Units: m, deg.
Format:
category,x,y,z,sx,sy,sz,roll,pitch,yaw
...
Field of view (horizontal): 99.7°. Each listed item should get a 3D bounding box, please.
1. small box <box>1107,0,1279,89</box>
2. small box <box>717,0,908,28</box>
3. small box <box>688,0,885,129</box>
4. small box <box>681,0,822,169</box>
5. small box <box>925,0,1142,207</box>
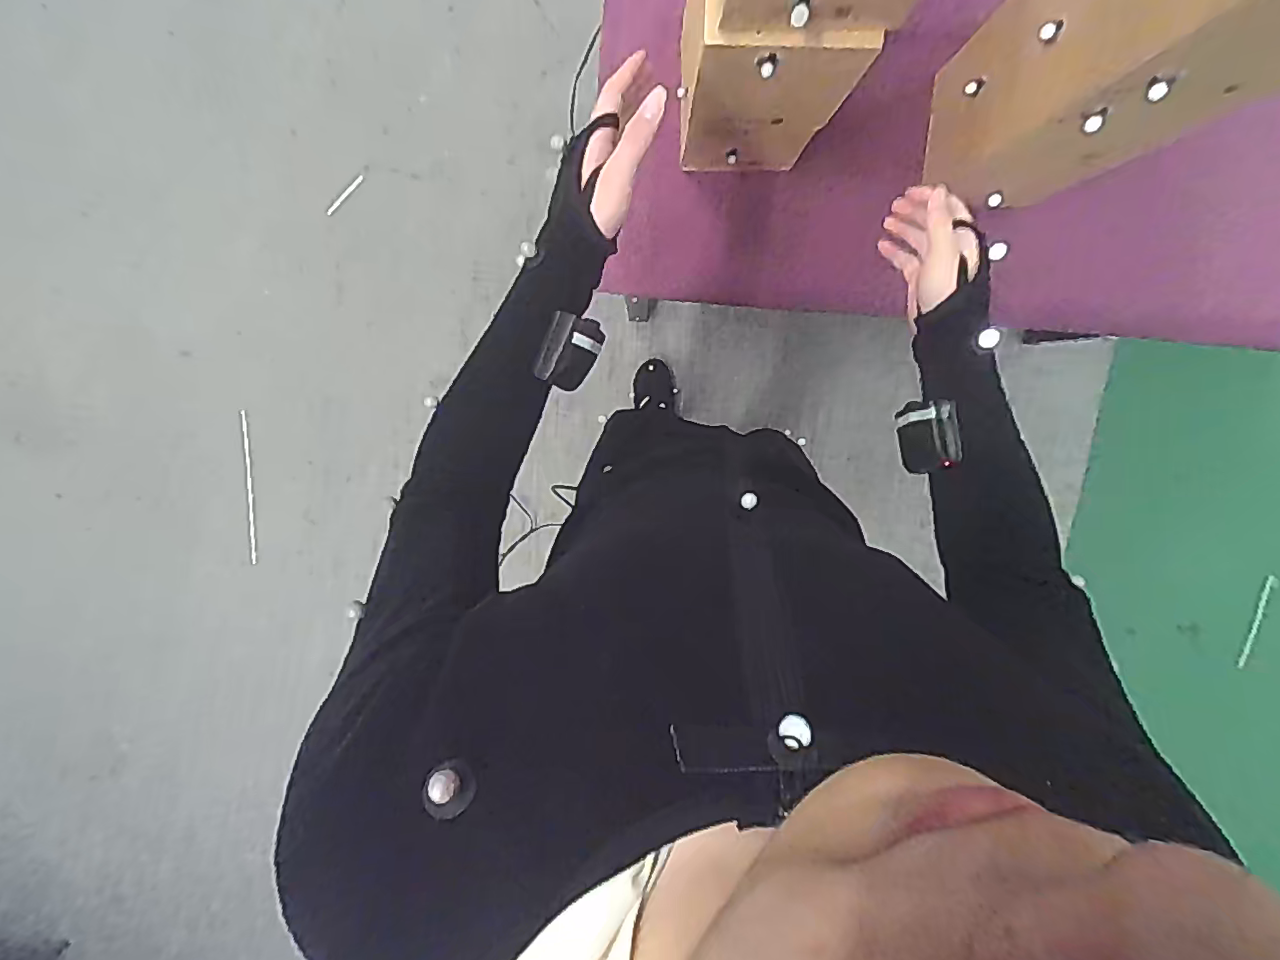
category,x,y,z,sx,sy,sz,roll,pitch,yaw
small box,0.490,-0.416,0.386,0.168,0.176,0.179,2,99,0
small box,0.145,-0.471,0.383,0.168,0.176,0.179,0,102,1
small box,0.139,-0.490,0.546,0.168,0.176,0.179,2,101,0
small box,0.141,-0.533,0.704,0.168,0.176,0.179,0,101,0
small box,0.501,-0.482,0.707,0.168,0.176,0.179,3,100,0
